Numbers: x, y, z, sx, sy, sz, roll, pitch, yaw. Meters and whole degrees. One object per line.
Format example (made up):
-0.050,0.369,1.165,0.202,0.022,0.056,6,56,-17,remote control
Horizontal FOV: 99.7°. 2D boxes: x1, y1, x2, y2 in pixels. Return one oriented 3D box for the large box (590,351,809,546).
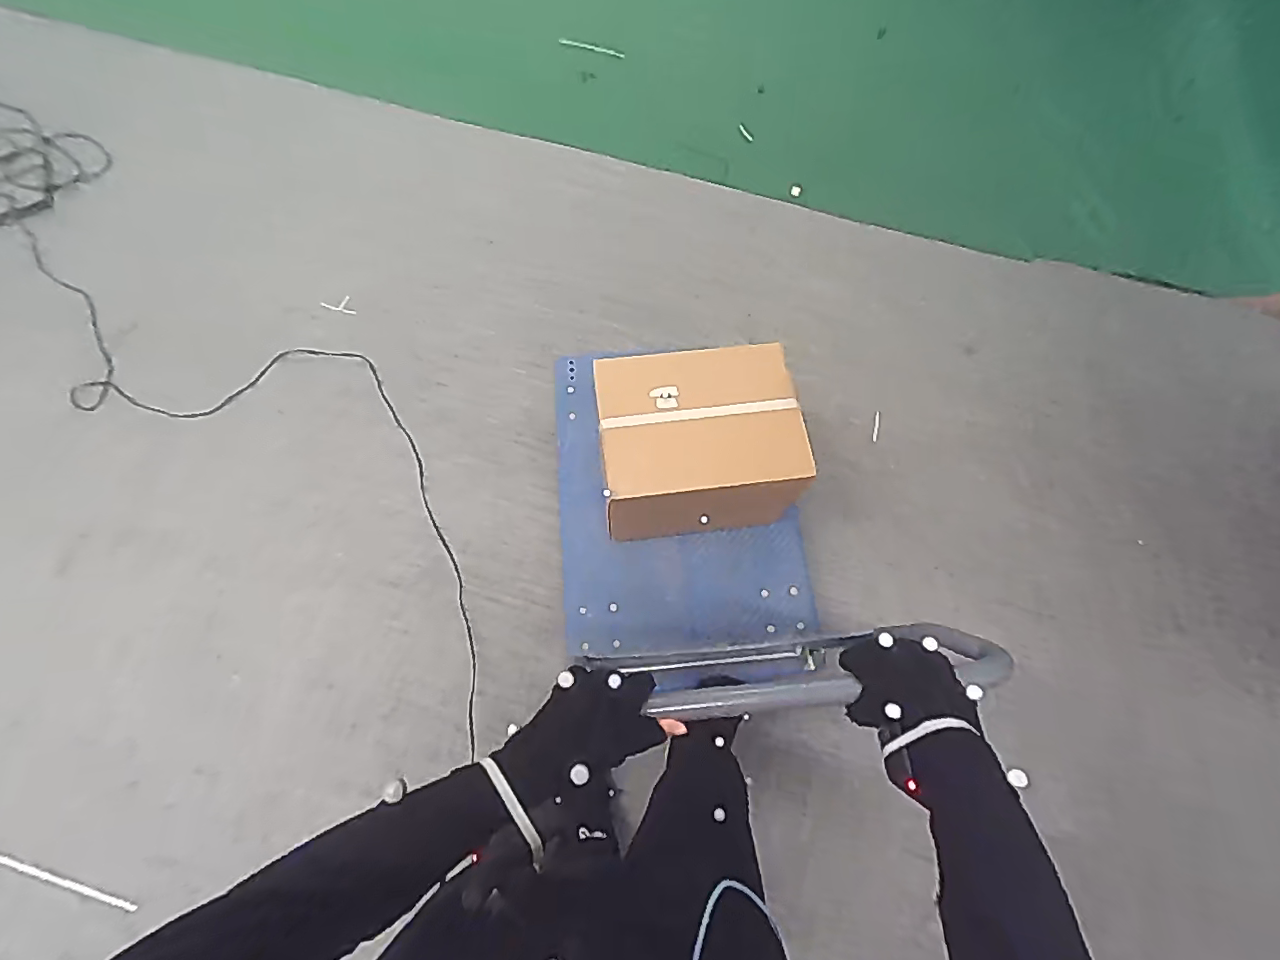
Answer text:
0.109,-0.057,1.226,0.408,0.320,0.320,-7,68,-5,large box
